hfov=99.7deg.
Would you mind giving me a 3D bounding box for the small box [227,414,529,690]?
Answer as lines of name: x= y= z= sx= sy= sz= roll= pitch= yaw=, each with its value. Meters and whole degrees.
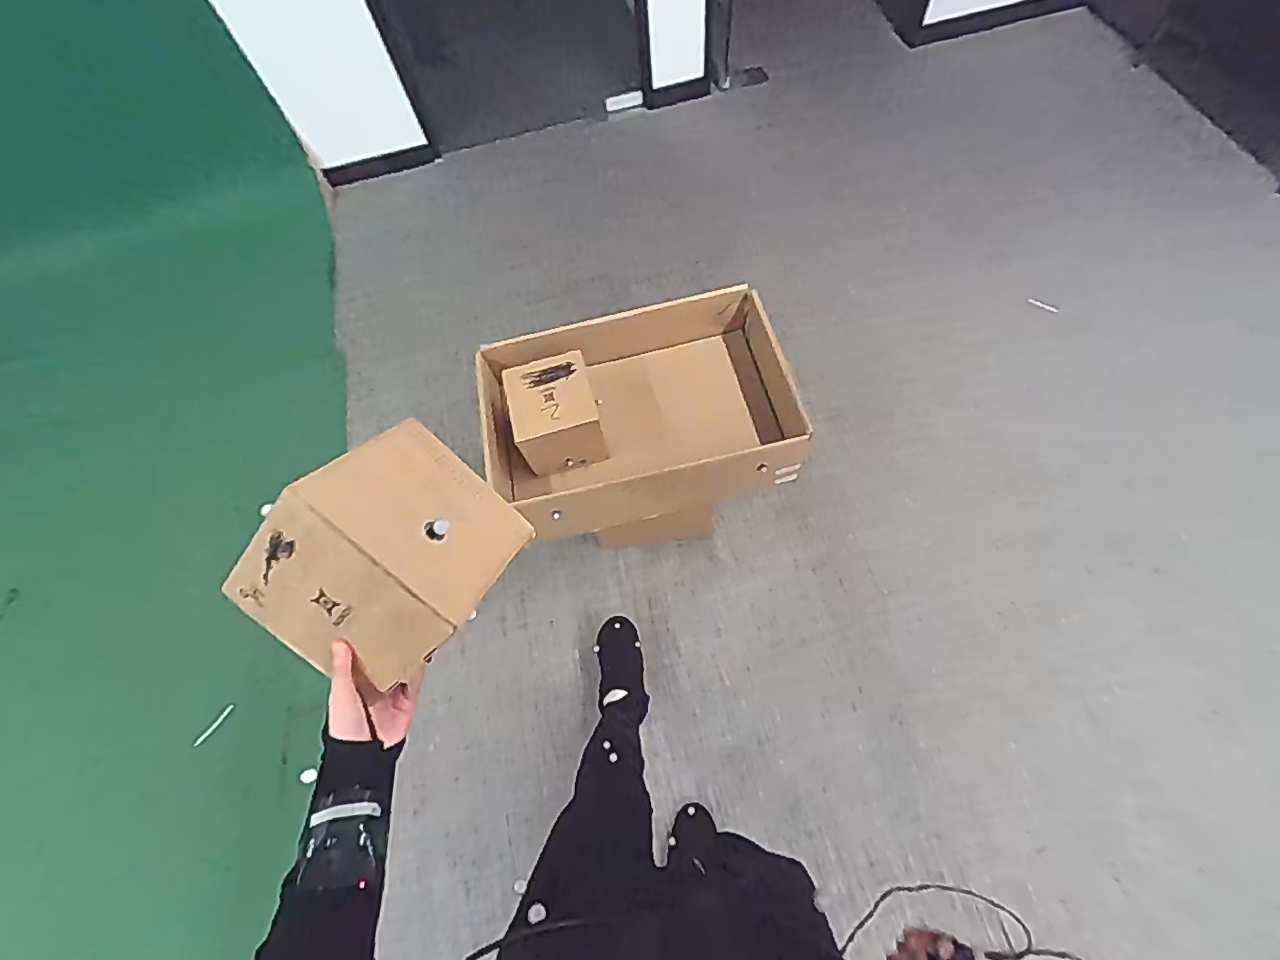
small box: x=-0.242 y=0.063 z=0.538 sx=0.179 sy=0.176 sz=0.168 roll=45 pitch=116 yaw=-10
